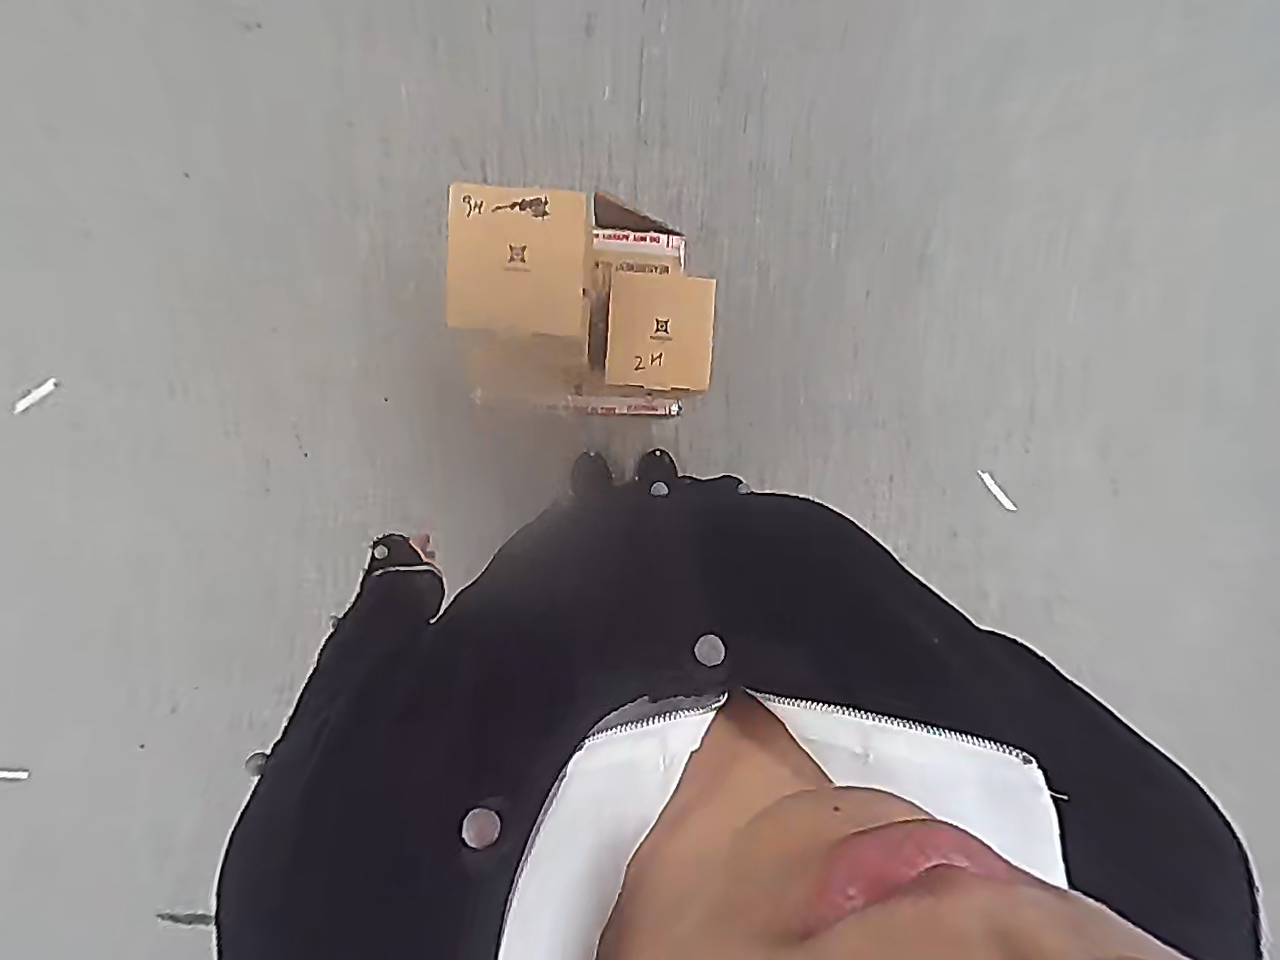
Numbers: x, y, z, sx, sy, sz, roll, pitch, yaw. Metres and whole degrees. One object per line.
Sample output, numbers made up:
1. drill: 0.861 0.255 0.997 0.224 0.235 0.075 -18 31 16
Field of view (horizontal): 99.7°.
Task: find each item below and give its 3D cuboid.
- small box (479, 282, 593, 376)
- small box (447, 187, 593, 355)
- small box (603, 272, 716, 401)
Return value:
1. small box: -0.165 -0.271 0.899 0.168 0.176 0.179 1 96 -2
2. small box: -0.152 -0.269 0.735 0.168 0.176 0.179 3 96 -3
3. small box: 0.025 -0.231 0.914 0.168 0.176 0.179 3 95 -5
